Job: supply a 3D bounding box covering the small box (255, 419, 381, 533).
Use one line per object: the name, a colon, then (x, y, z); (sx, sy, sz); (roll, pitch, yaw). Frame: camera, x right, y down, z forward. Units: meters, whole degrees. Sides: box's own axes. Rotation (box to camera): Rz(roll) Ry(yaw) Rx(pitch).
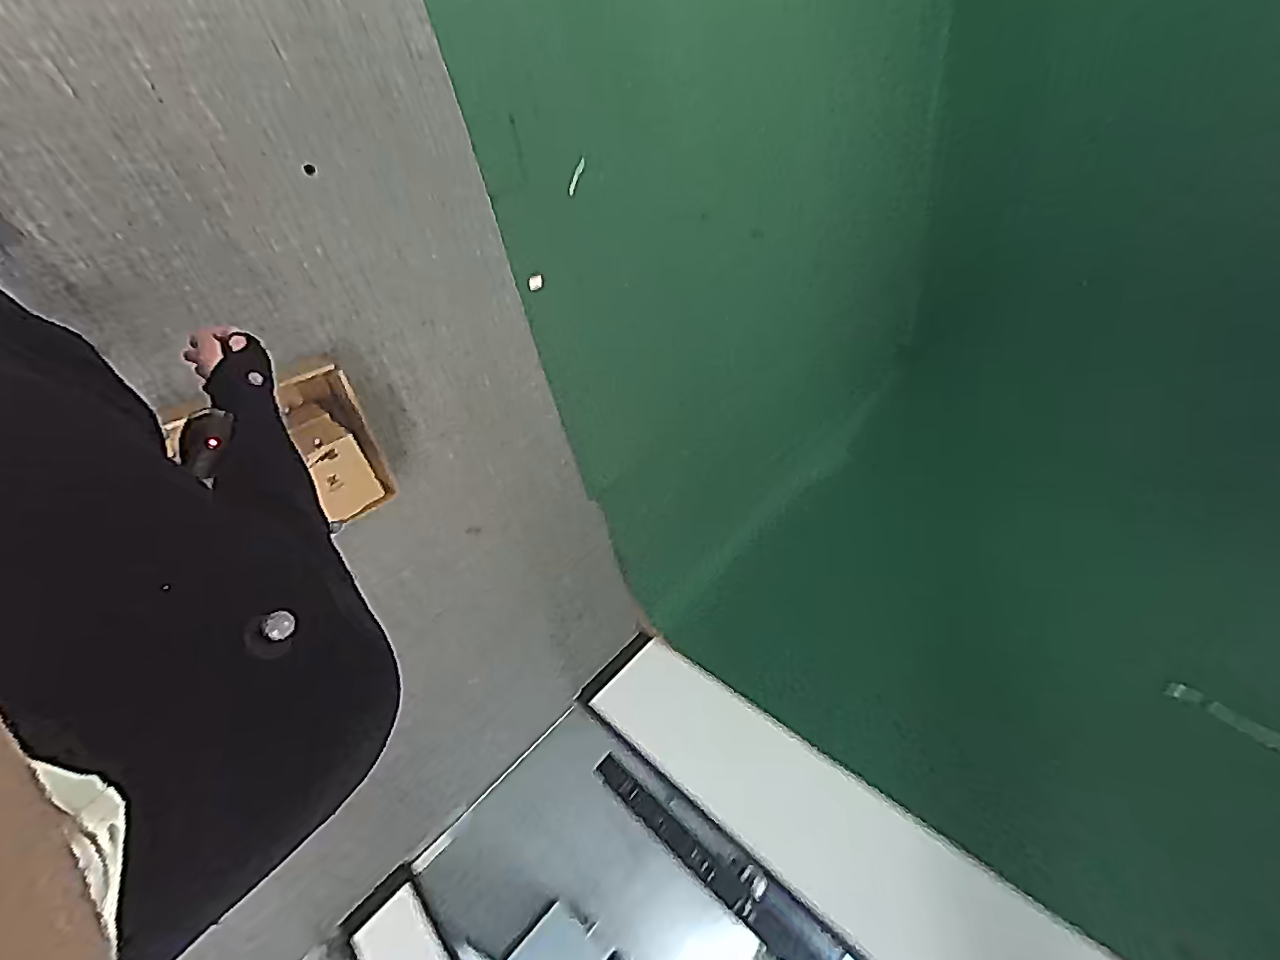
small box: (-0.738, -0.015, 1.243); (0.168, 0.176, 0.179); (-37, 133, -31)
